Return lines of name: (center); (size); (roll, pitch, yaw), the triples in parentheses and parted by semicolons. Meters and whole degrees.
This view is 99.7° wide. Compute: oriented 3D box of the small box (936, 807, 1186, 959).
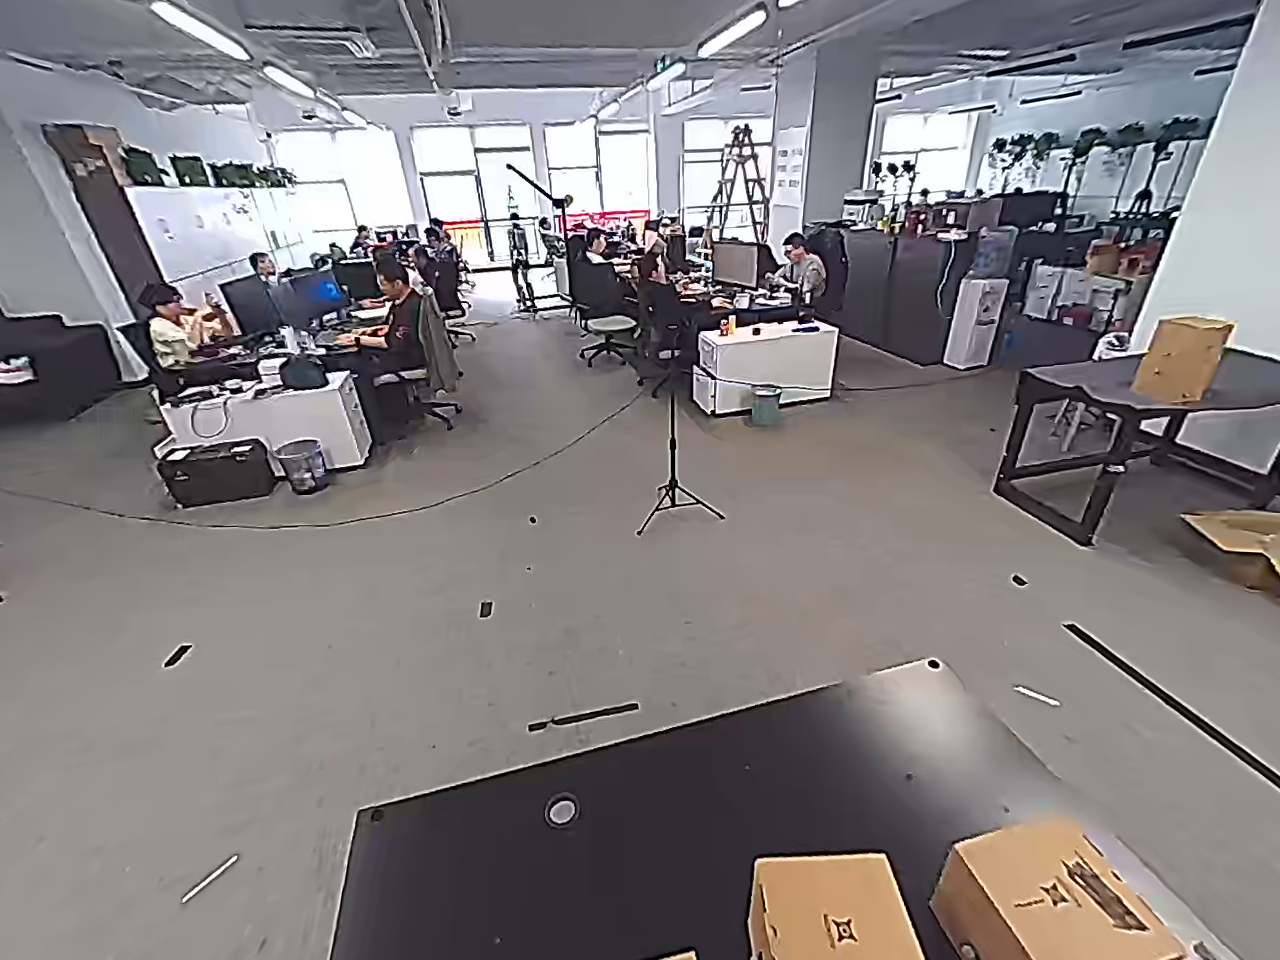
small box: (0.522, 0.572, 0.702); (0.179, 0.176, 0.168); (-10, 29, -9)

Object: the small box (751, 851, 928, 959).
small box: (0.244, 0.604, 0.683); (0.179, 0.176, 0.168); (-4, 28, 1)
